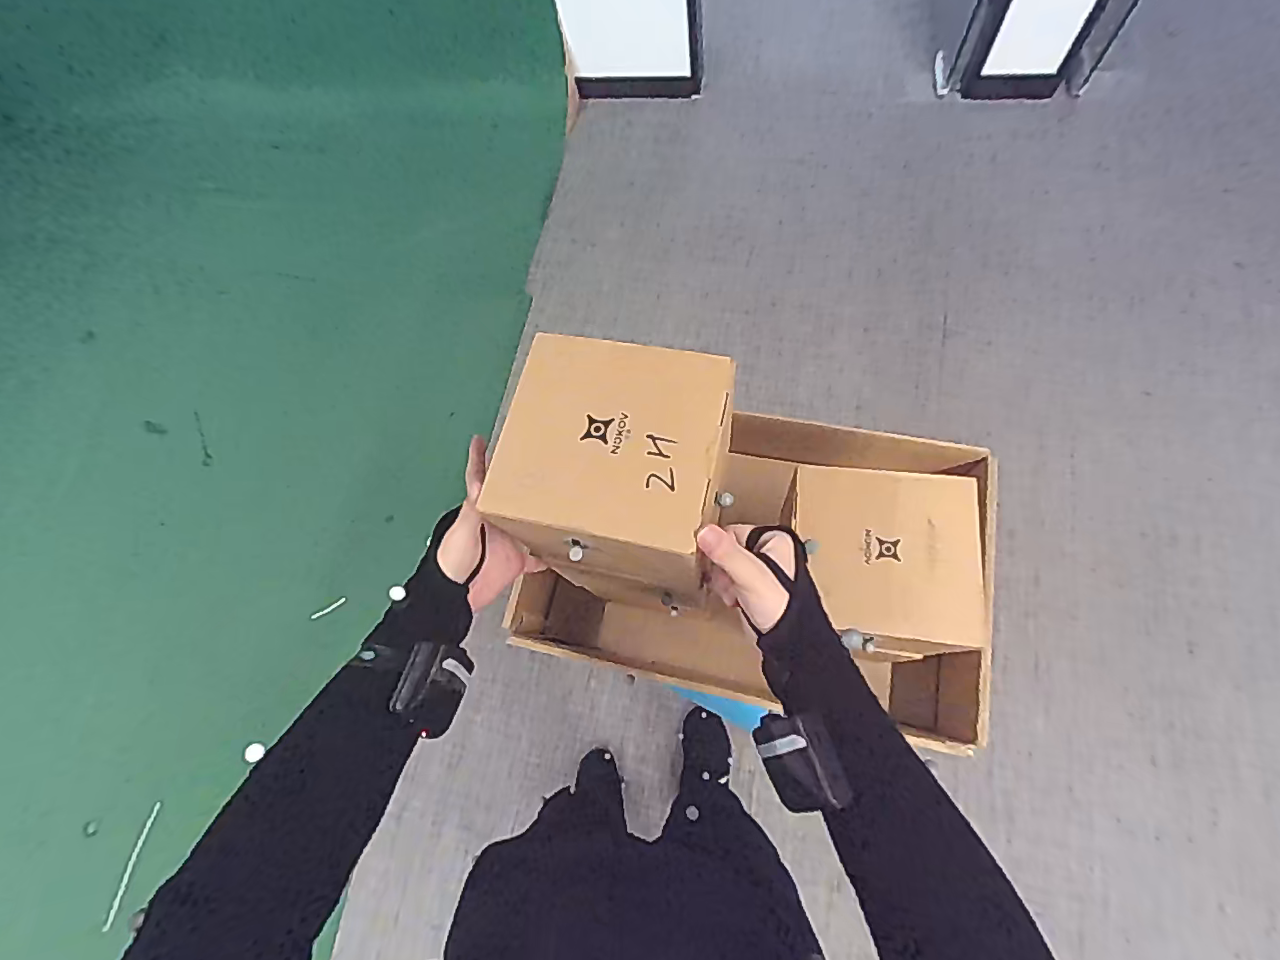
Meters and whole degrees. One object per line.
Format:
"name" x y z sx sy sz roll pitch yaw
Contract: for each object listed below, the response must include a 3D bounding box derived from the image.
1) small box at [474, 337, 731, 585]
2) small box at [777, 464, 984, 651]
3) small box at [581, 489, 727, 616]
"small box" -0.019 -0.007 0.504 0.179 0.176 0.168 11 72 11
"small box" 0.249 0.093 0.599 0.179 0.176 0.168 5 72 12
"small box" 0.031 0.103 0.811 0.179 0.176 0.168 9 72 11
